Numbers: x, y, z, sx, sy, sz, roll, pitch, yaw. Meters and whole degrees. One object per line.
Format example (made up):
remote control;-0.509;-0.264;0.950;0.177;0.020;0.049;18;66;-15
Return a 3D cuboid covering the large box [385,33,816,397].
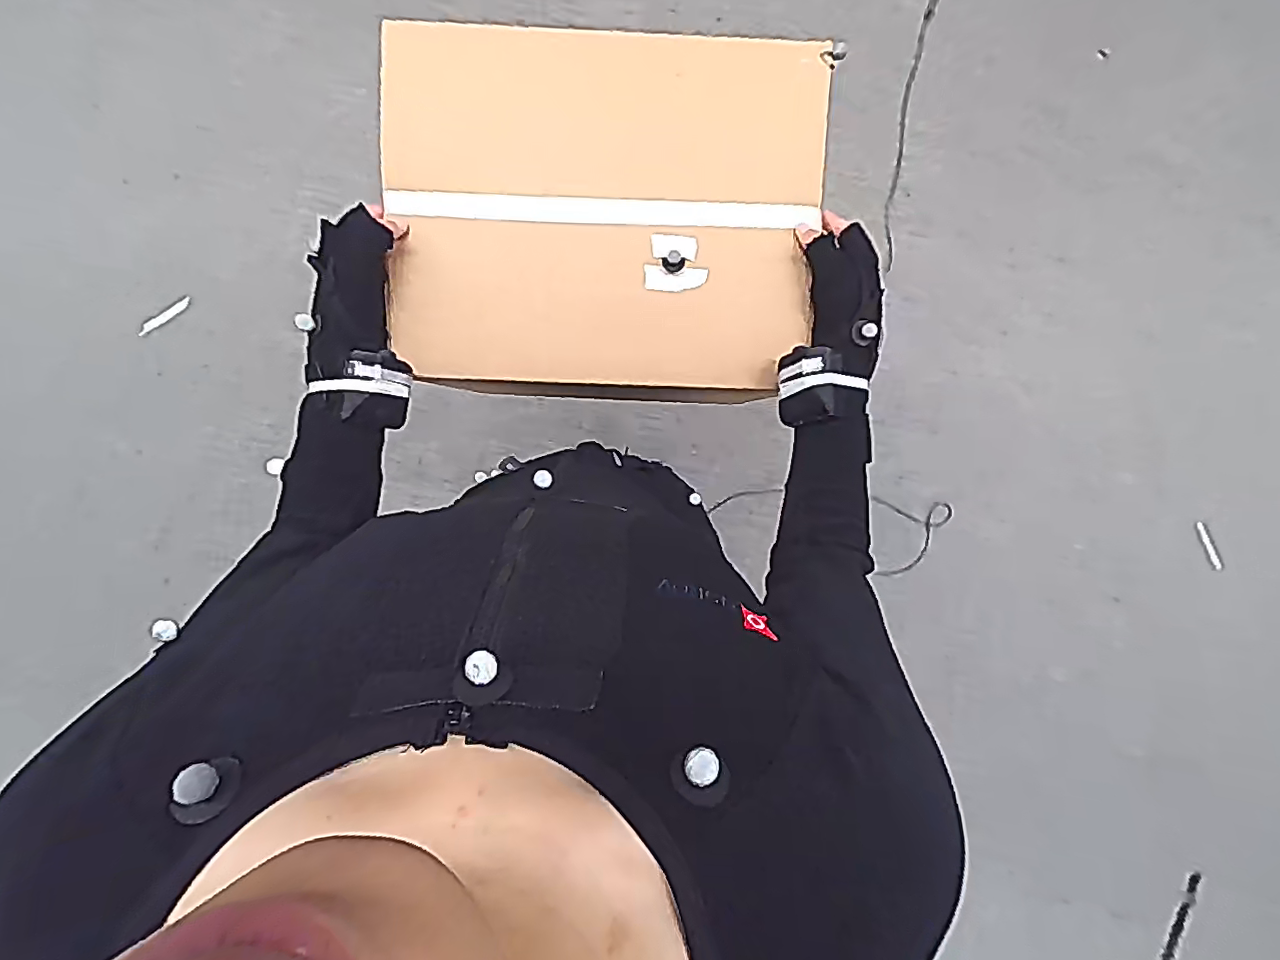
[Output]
large box;-0.041;-0.265;0.657;0.408;0.320;0.320;1;96;-2
